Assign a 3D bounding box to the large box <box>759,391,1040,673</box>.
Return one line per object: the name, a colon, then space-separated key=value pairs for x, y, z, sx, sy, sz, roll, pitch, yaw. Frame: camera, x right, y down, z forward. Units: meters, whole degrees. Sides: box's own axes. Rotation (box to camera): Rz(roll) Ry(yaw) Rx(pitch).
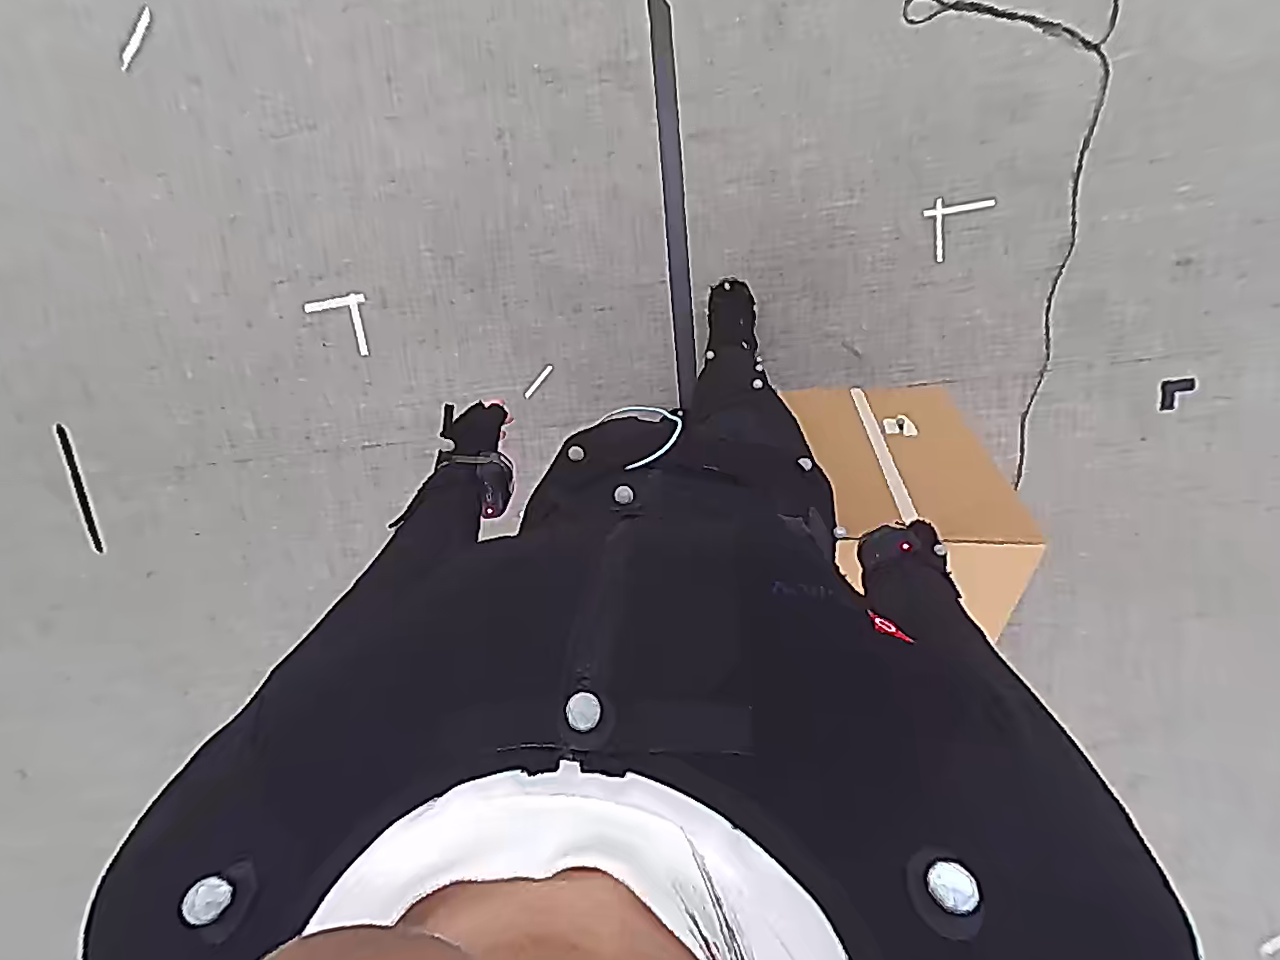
large box: x=0.386 y=0.076 z=0.944 sx=0.320 sy=0.408 sz=0.320 roll=1 pitch=126 yaw=6
